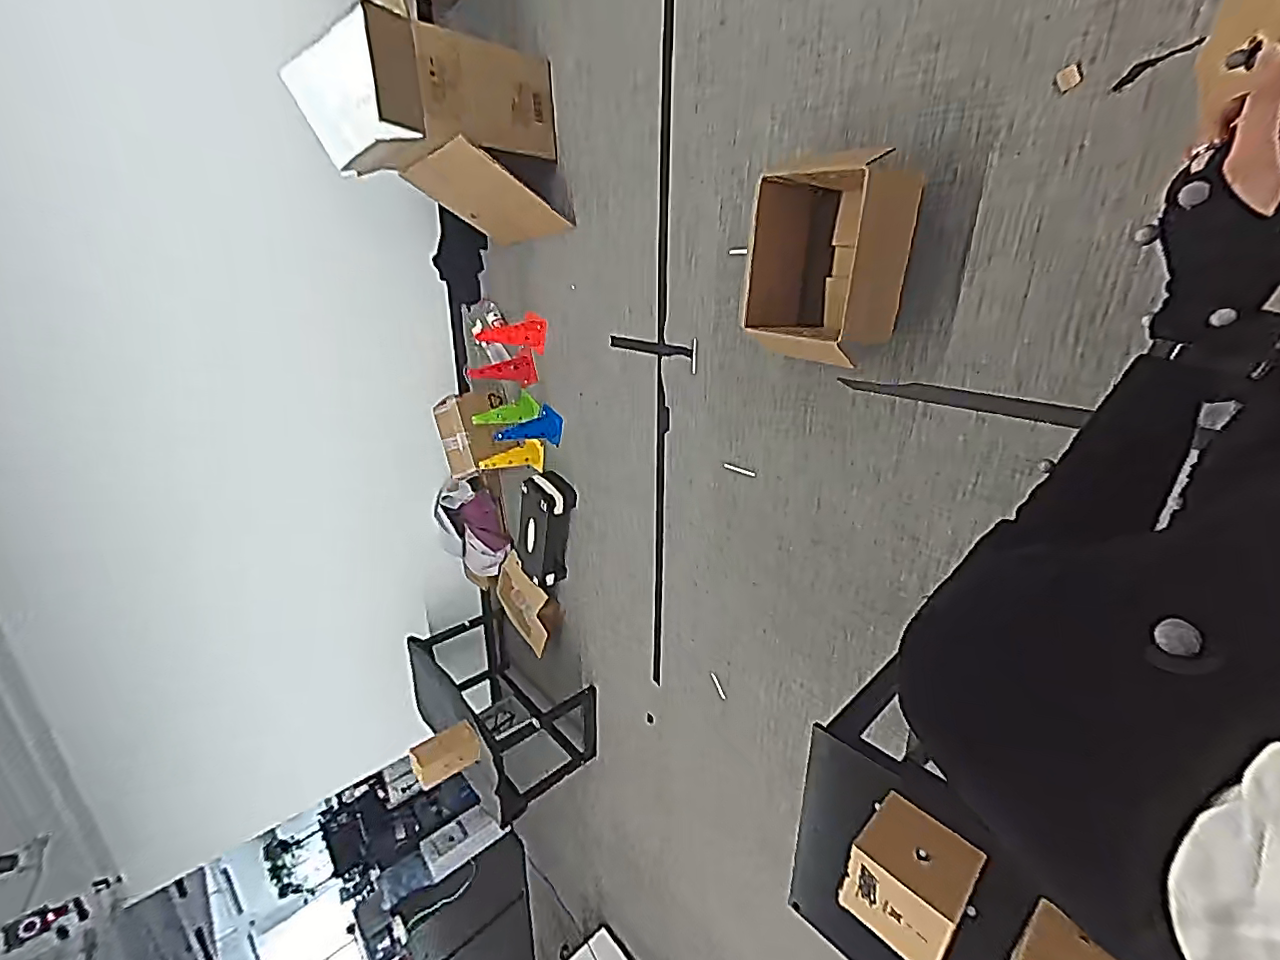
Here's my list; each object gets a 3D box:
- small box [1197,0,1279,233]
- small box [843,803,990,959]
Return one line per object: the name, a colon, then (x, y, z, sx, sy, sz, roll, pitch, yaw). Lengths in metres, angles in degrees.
small box: (0.535, -0.308, 0.384, 0.168, 0.176, 0.179, -1, 92, 33)
small box: (0.508, 0.744, 1.001, 0.179, 0.176, 0.168, 23, 121, 42)
